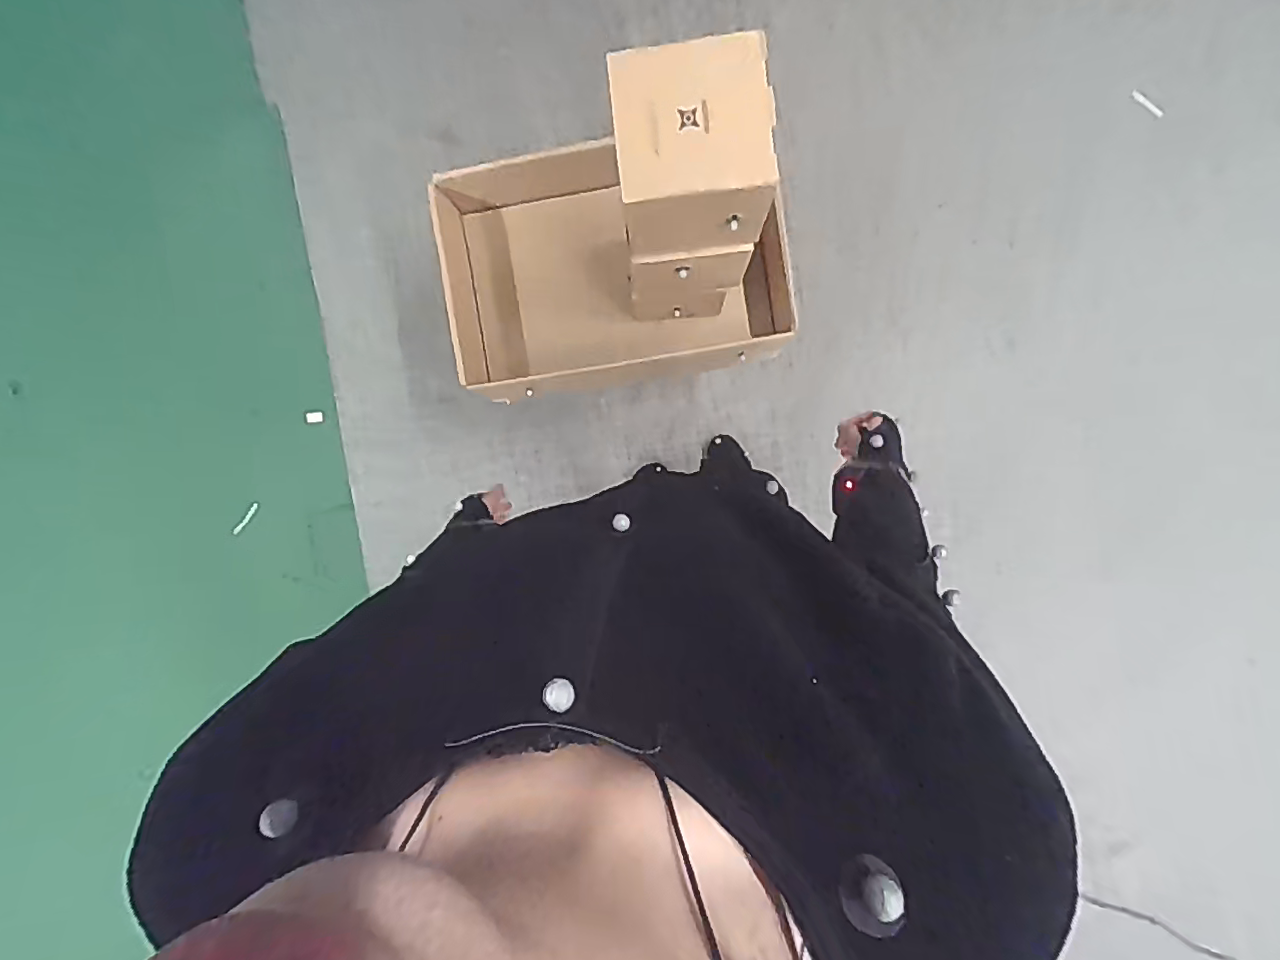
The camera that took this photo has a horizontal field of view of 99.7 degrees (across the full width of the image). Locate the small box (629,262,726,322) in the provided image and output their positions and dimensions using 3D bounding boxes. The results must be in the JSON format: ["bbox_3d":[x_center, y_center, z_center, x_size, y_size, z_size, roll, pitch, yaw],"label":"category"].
[{"bbox_3d":[0.068,-0.397,0.989,0.168,0.176,0.179,-4,91,4],"label":"small box"}]

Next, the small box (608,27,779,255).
[{"bbox_3d":[0.062,-0.396,0.662,0.179,0.176,0.168,-5,91,5],"label":"small box"}]

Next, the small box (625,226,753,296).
[{"bbox_3d":[0.070,-0.391,0.825,0.179,0.176,0.168,-5,92,4],"label":"small box"}]
